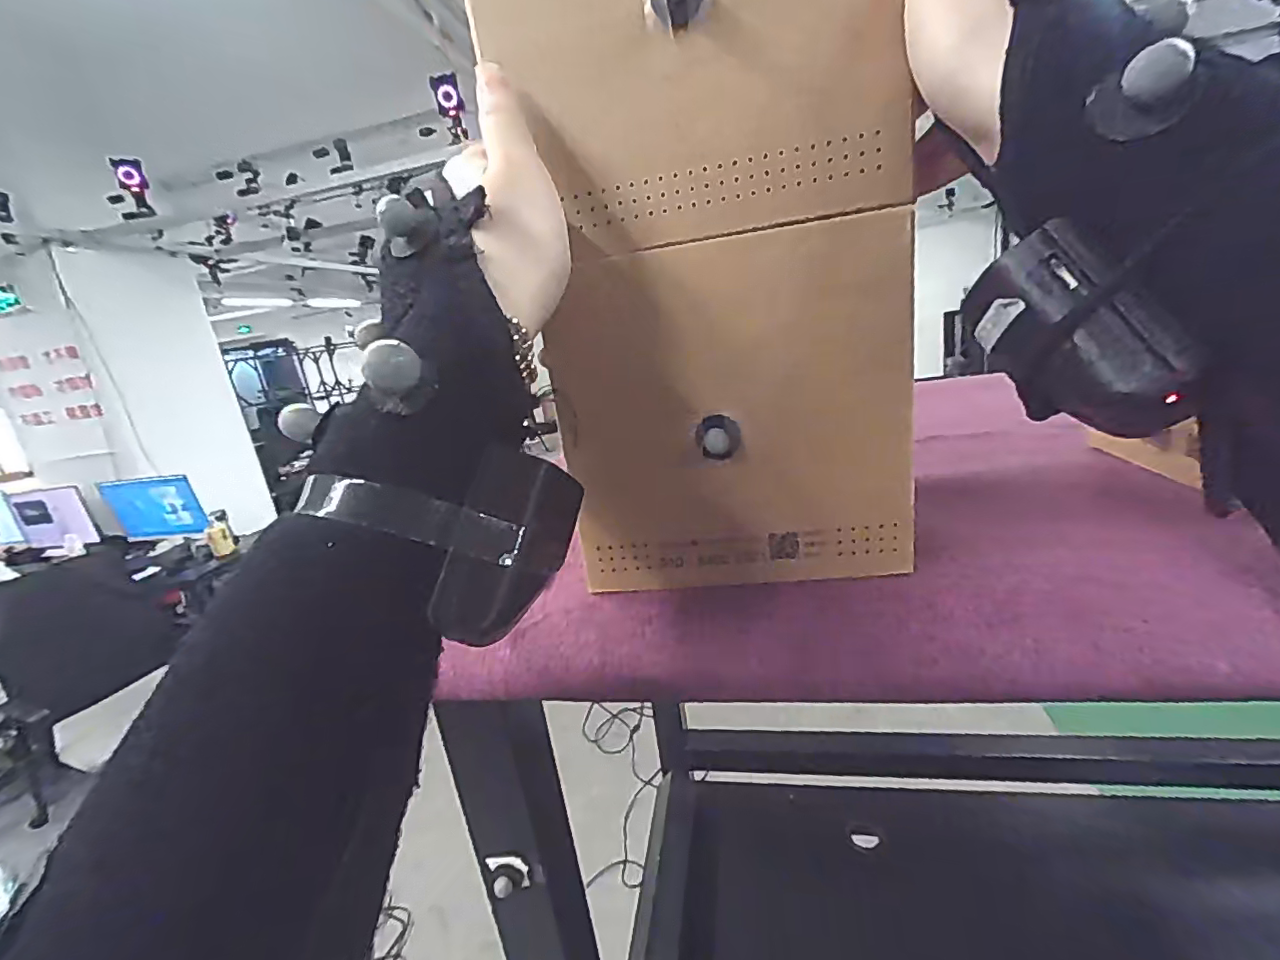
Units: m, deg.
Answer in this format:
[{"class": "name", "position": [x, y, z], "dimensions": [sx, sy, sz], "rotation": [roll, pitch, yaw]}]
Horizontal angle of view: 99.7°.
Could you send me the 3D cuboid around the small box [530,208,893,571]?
[{"class": "small box", "position": [0.050, -0.050, 0.339], "dimensions": [0.168, 0.176, 0.179], "rotation": [-5, 16, 10]}]
